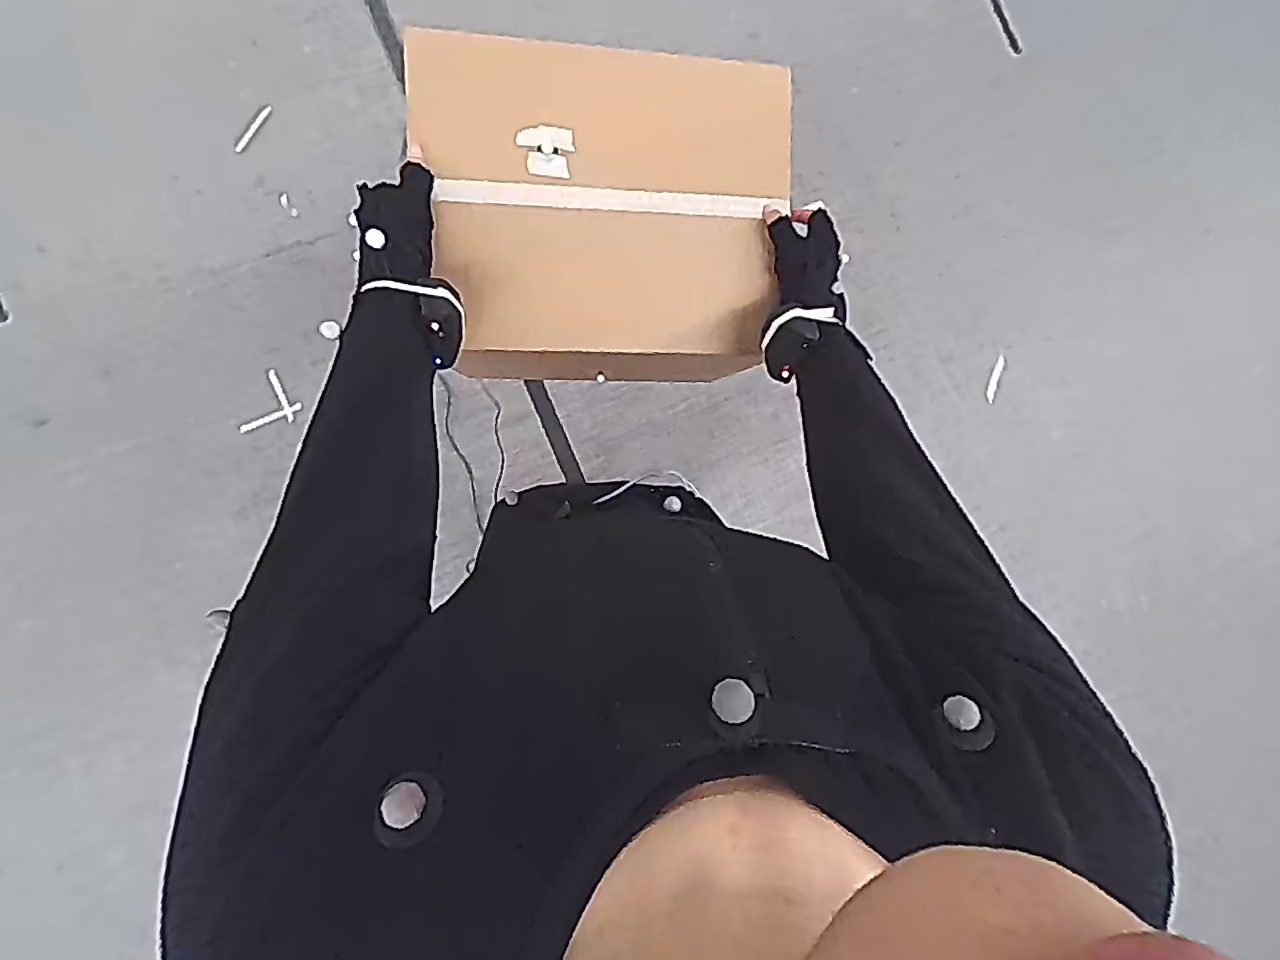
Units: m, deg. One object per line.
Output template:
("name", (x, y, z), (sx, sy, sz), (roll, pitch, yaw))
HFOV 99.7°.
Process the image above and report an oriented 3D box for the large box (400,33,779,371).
("large box", (-0.060, -0.318, 0.728), (0.408, 0.320, 0.320), (-2, 94, -9))
